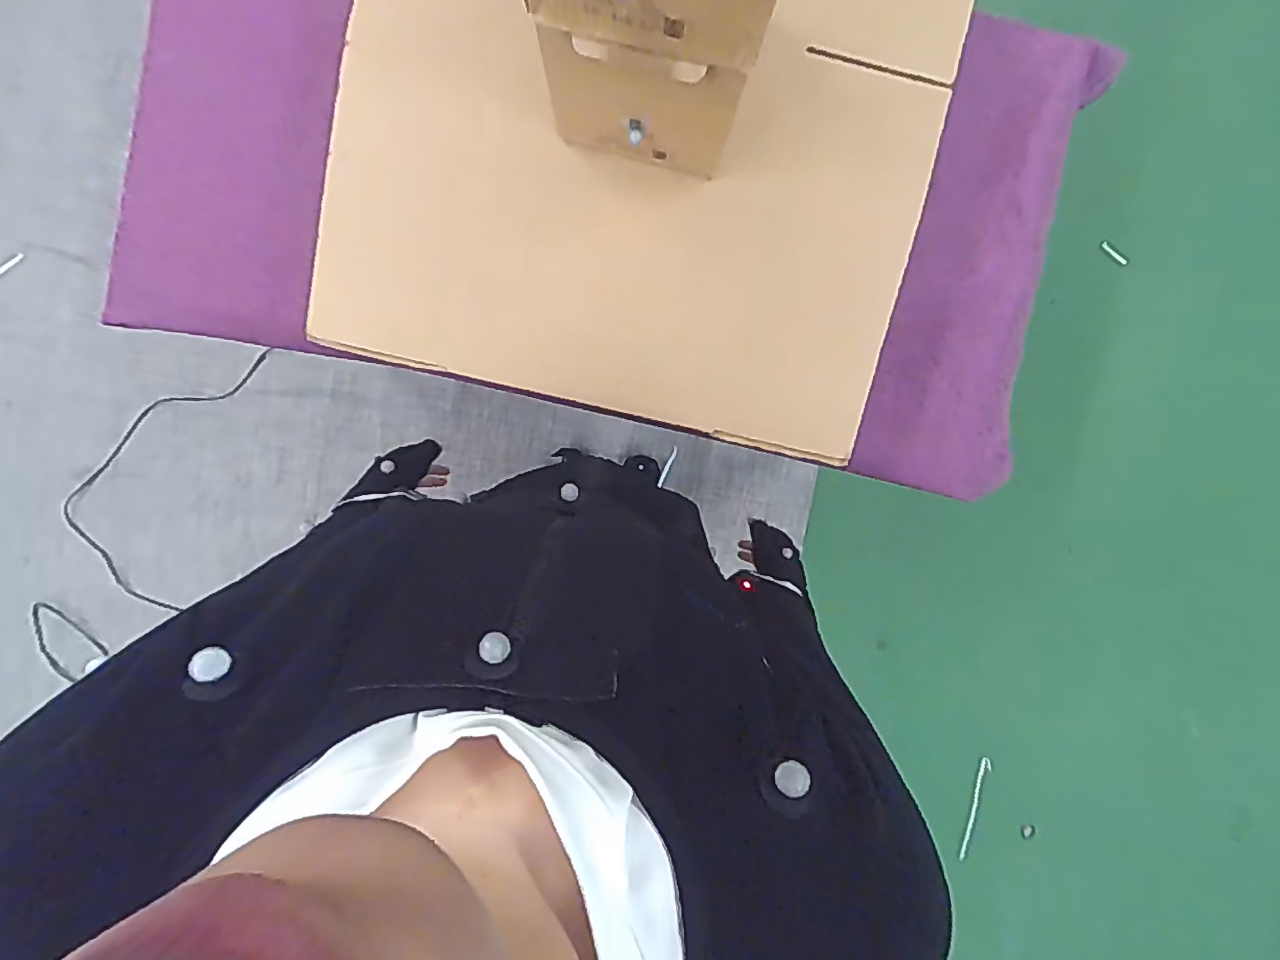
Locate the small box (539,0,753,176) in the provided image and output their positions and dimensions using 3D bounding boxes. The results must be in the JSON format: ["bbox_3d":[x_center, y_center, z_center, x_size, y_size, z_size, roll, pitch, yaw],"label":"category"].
[{"bbox_3d":[0.021,-0.408,0.469,0.168,0.176,0.179,14,93,-2],"label":"small box"}]

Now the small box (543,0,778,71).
[{"bbox_3d":[0.024,-0.392,0.307,0.168,0.176,0.179,12,93,-2],"label":"small box"}]
